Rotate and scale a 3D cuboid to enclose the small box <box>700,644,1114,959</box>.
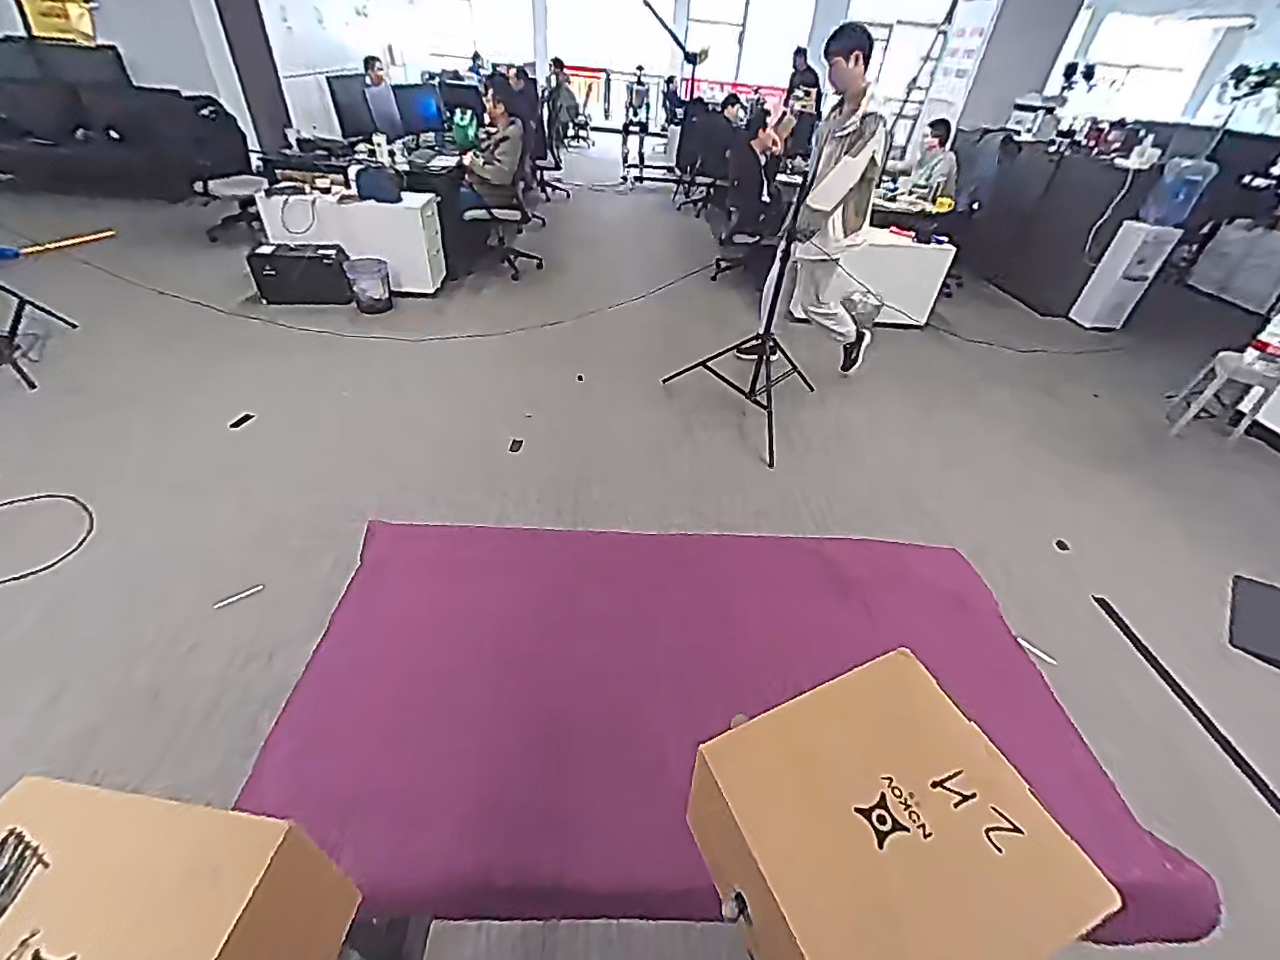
[{"bbox_3d":[0.152,0.253,0.380,0.179,0.176,0.168,-17,48,-18],"label":"small box"}]
